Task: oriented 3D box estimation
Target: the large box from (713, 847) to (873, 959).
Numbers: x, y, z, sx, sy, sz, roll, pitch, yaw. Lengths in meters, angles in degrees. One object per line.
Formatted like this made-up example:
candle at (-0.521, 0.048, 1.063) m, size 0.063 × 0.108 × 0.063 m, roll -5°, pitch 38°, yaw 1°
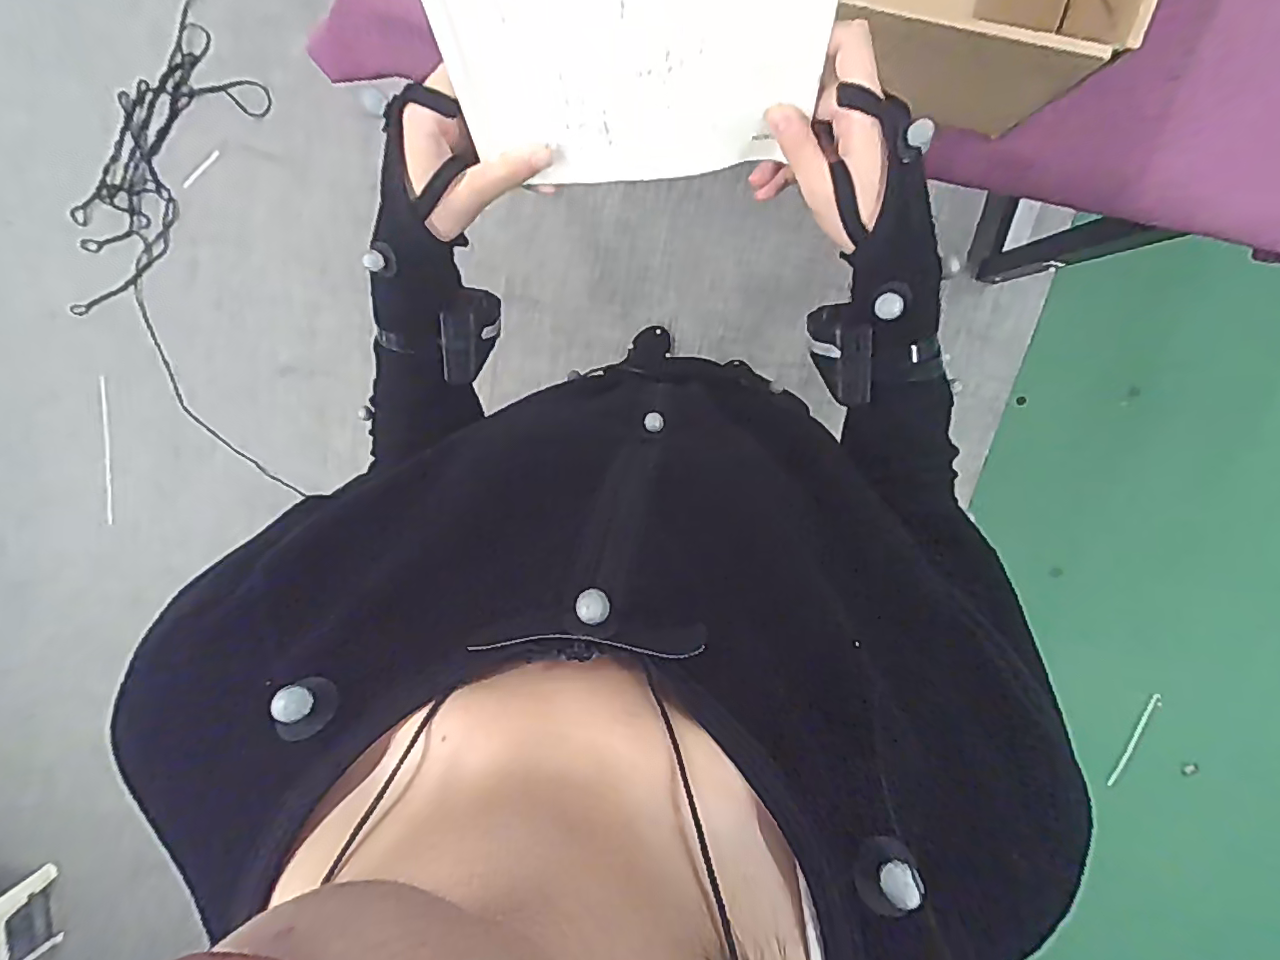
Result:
large box at (0.429, 1.348, 1.602) m, size 0.408 × 0.320 × 0.320 m, roll -1°, pitch 103°, yaw 5°
